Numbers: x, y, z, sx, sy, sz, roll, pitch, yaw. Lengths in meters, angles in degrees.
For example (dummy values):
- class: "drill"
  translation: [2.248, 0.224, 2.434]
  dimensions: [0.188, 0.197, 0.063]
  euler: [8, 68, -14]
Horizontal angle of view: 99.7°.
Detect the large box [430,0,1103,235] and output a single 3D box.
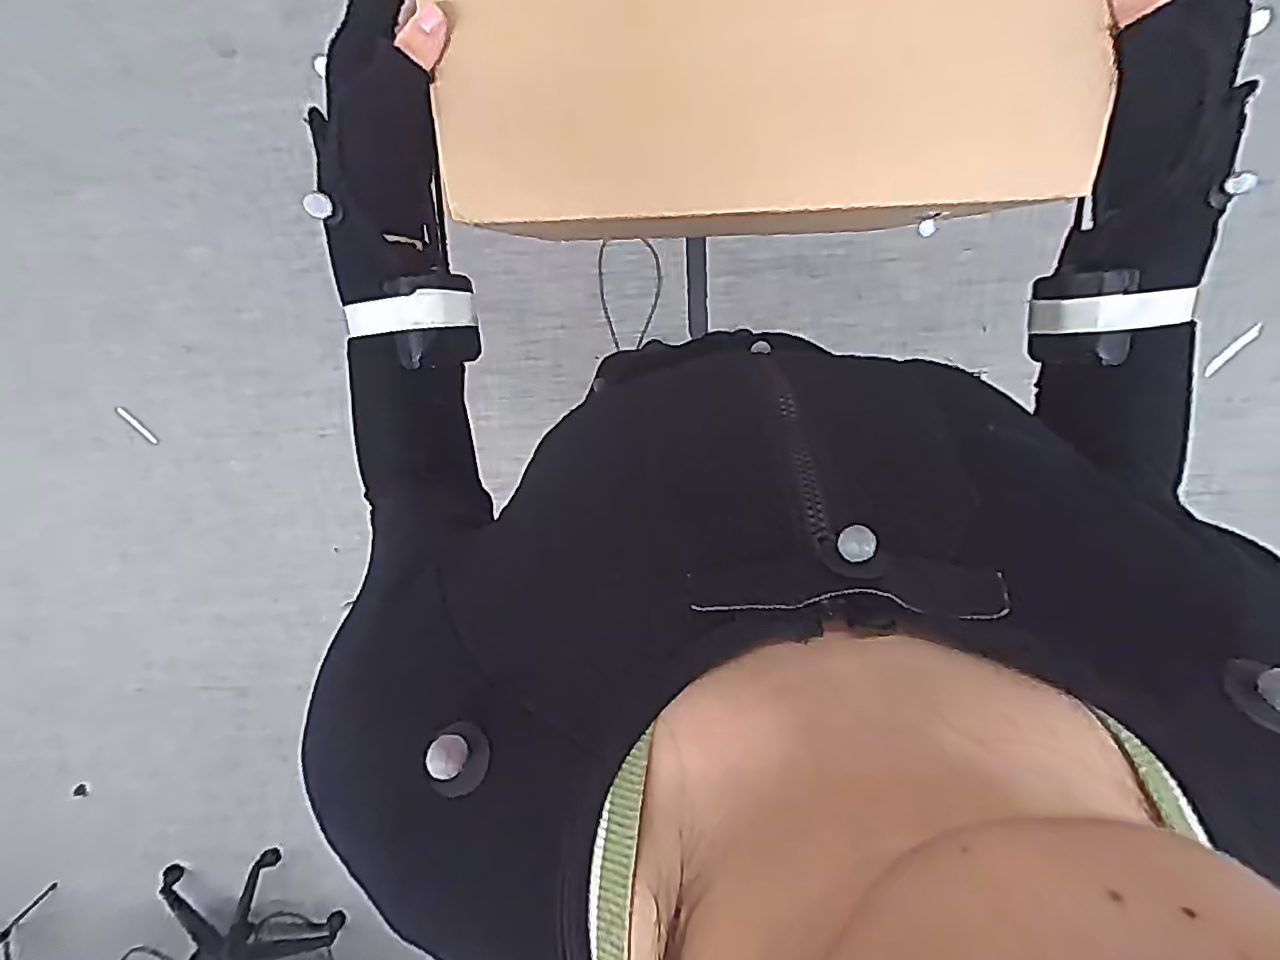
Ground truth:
- class: "large box"
  translation: [0.076, -0.379, 0.439]
  dimensions: [0.408, 0.320, 0.320]
  euler: [-1, 112, 2]
